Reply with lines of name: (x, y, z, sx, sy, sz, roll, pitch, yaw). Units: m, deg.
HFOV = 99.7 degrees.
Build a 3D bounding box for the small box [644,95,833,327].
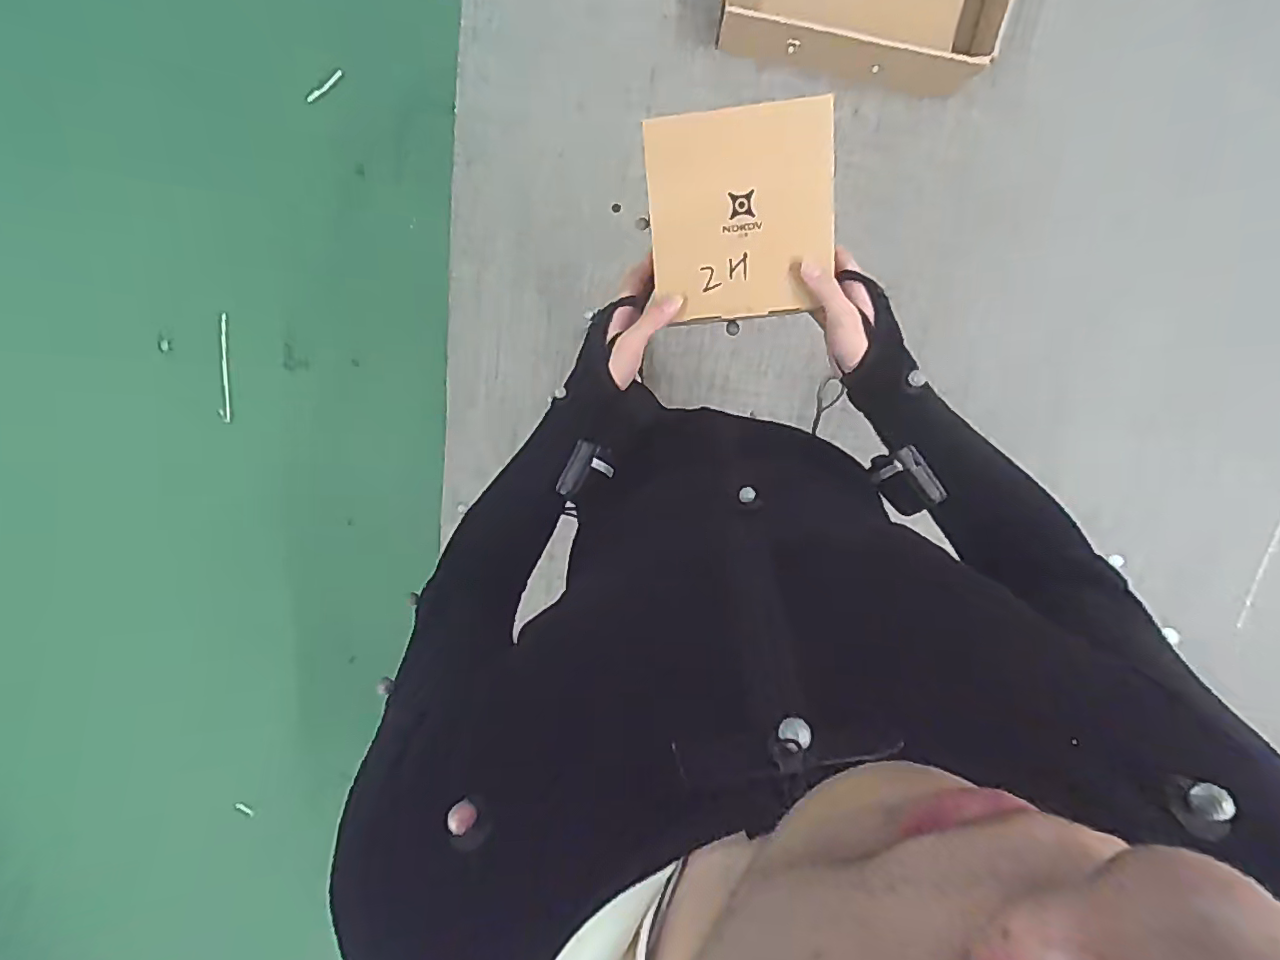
small box: (0.094, -0.257, 0.561, 0.168, 0.176, 0.179, -3, 104, 6)
